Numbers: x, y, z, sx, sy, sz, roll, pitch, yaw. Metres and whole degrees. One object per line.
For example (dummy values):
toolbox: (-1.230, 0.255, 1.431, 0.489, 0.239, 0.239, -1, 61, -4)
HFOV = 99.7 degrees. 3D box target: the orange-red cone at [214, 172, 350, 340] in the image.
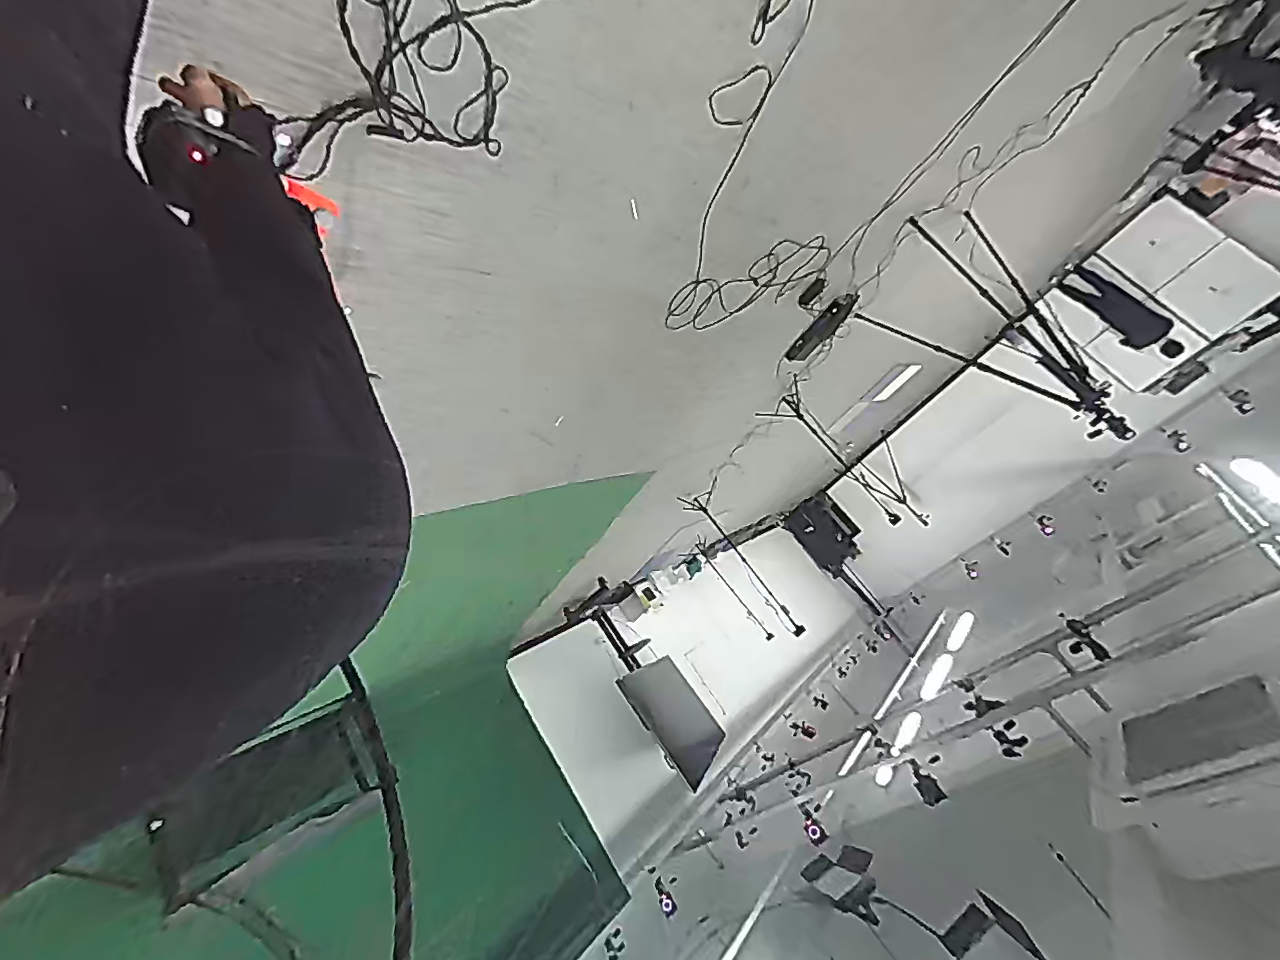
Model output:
orange-red cone: (-0.701, -0.432, 1.146, 0.198, 0.360, 0.199, -42, 161, 16)
